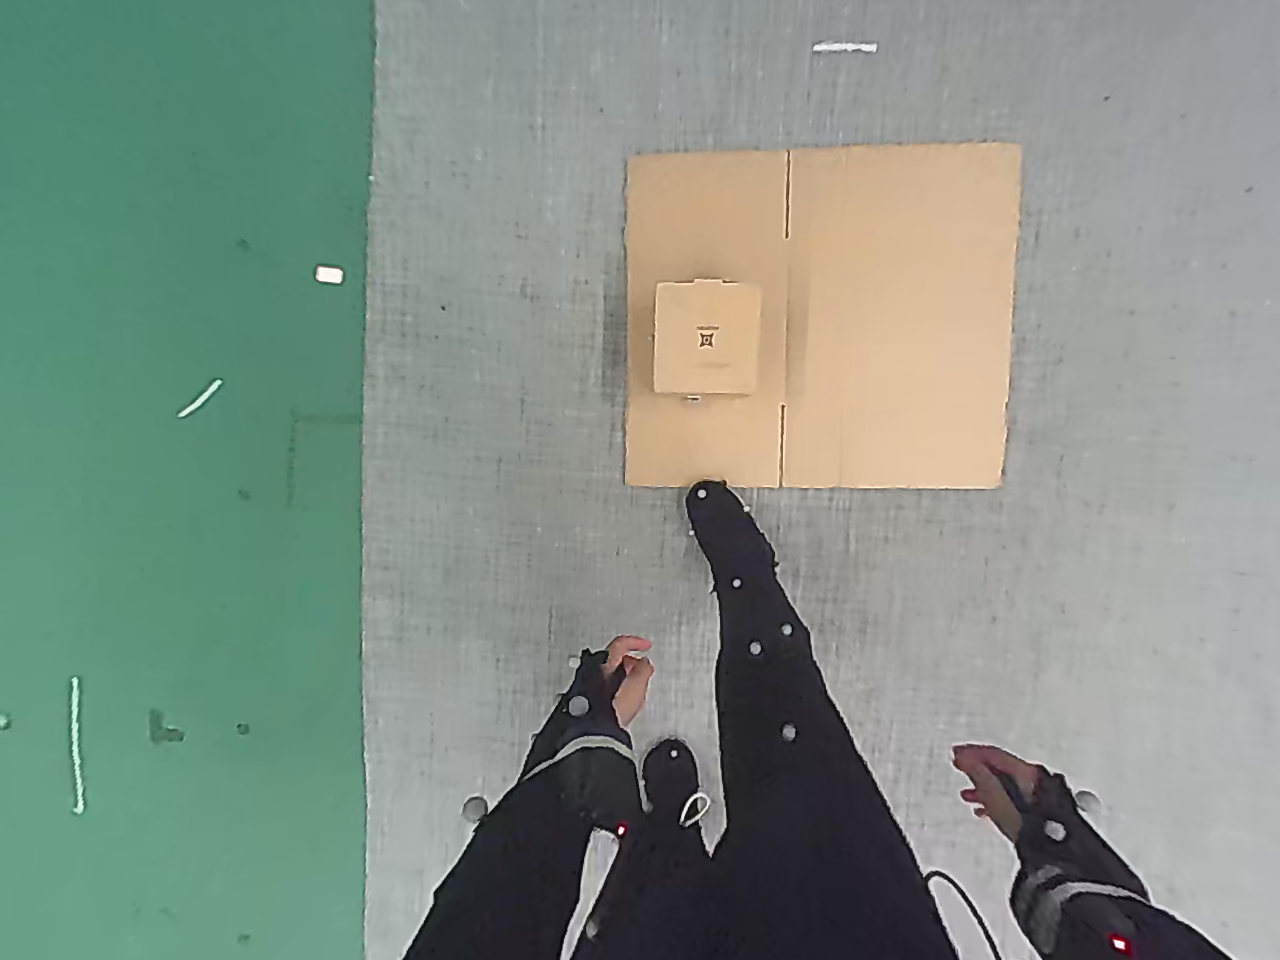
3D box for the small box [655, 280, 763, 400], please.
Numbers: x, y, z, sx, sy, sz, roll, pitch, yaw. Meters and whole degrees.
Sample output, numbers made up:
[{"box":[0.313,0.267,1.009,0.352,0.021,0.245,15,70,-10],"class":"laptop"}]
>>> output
[{"box":[0.112,-0.231,0.924,0.168,0.176,0.179,1,97,5],"class":"small box"}]
